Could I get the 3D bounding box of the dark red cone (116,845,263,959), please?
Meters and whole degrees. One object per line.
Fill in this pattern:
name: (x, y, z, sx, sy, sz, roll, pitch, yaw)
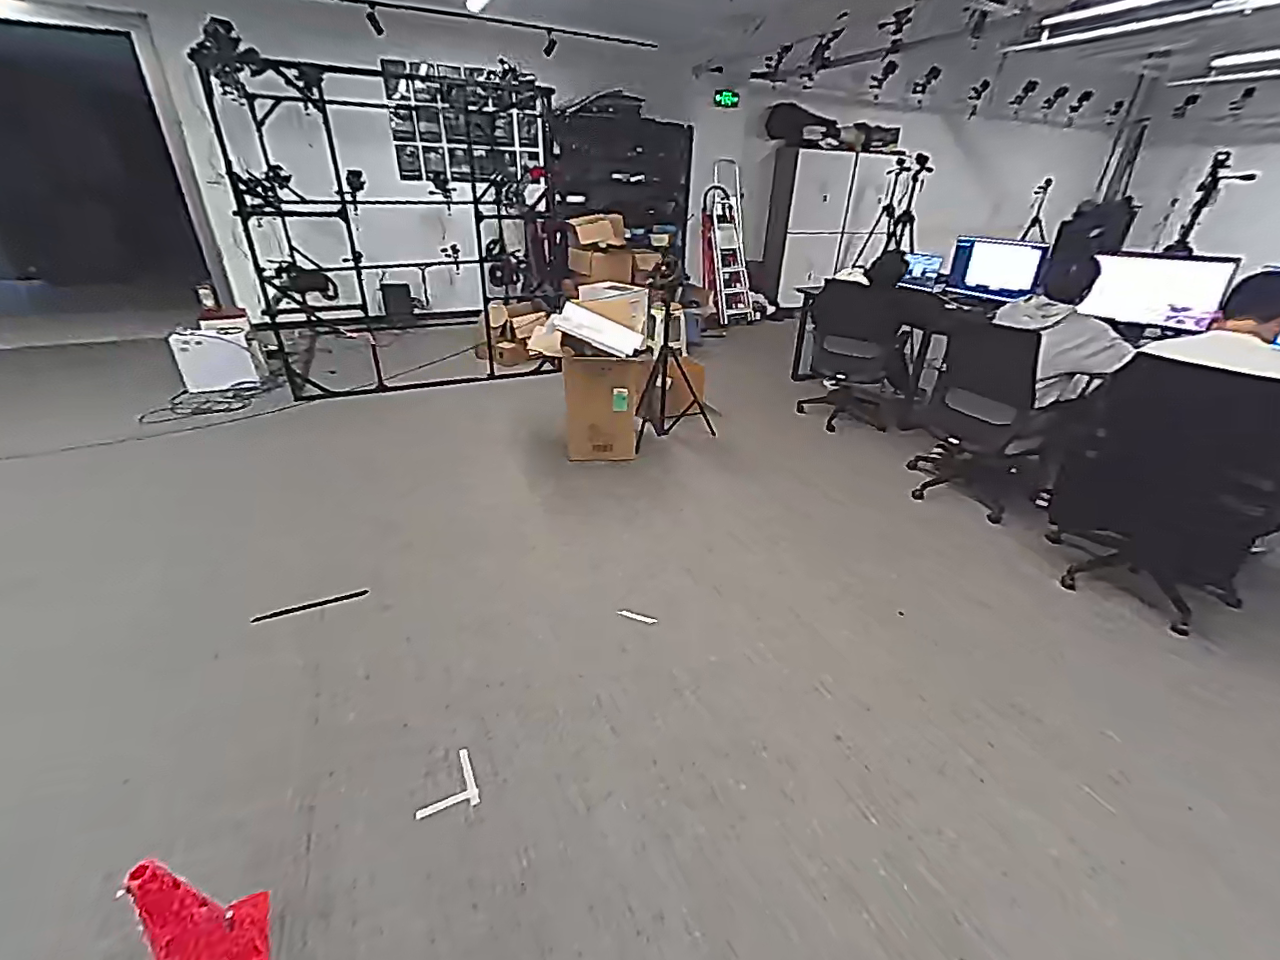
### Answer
dark red cone: (-0.880, 0.812, 1.016, 0.202, 0.394, 0.201, -15, 34, -28)
